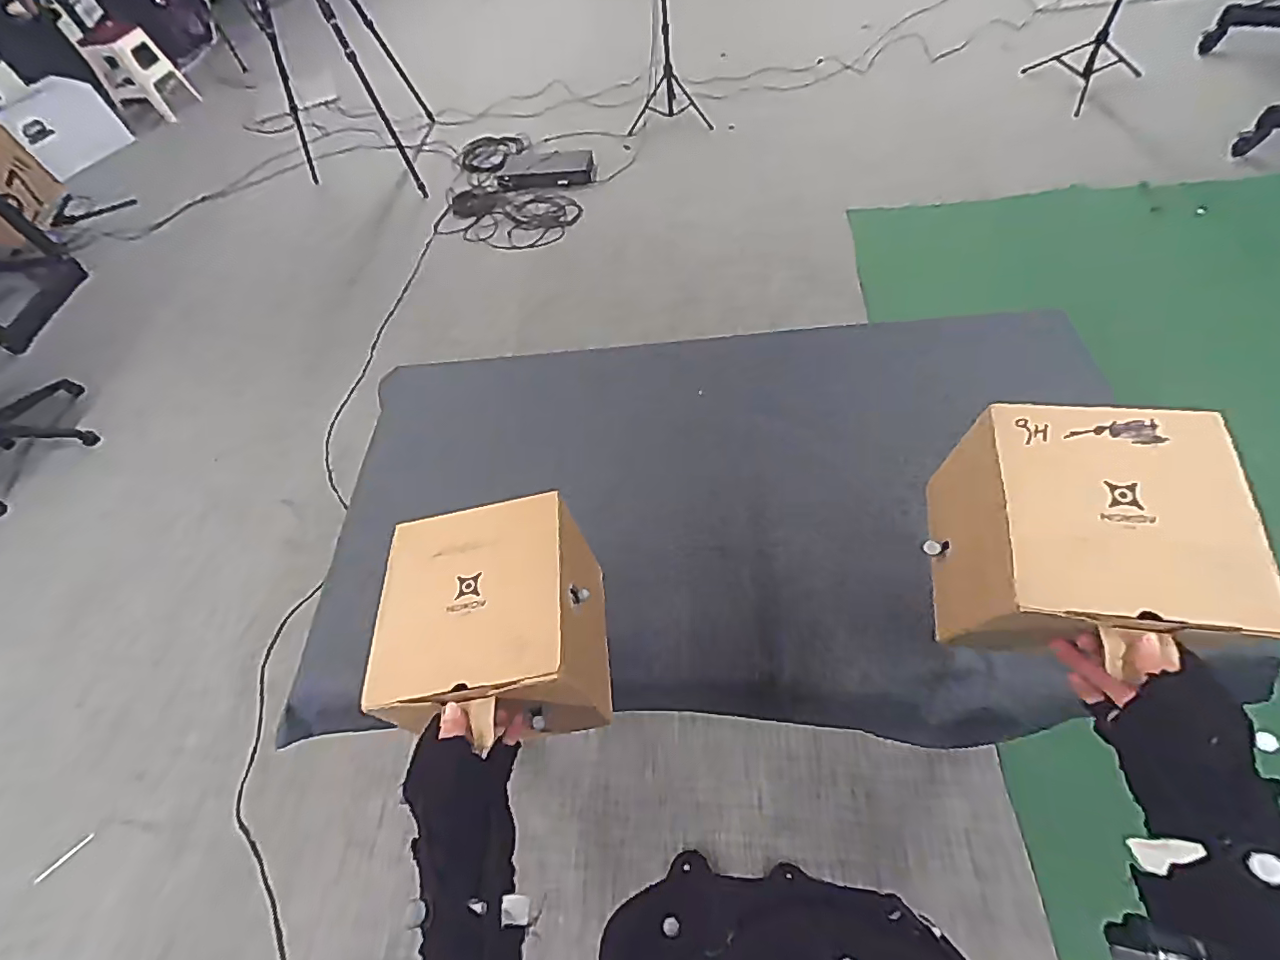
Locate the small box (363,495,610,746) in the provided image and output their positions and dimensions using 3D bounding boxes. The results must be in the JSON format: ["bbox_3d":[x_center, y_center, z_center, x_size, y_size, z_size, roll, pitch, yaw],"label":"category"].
[{"bbox_3d":[-0.129,0.144,0.523,0.168,0.176,0.179,-12,51,4],"label":"small box"}]

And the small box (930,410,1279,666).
[{"bbox_3d":[0.372,0.059,0.475,0.168,0.176,0.179,5,67,11],"label":"small box"}]
